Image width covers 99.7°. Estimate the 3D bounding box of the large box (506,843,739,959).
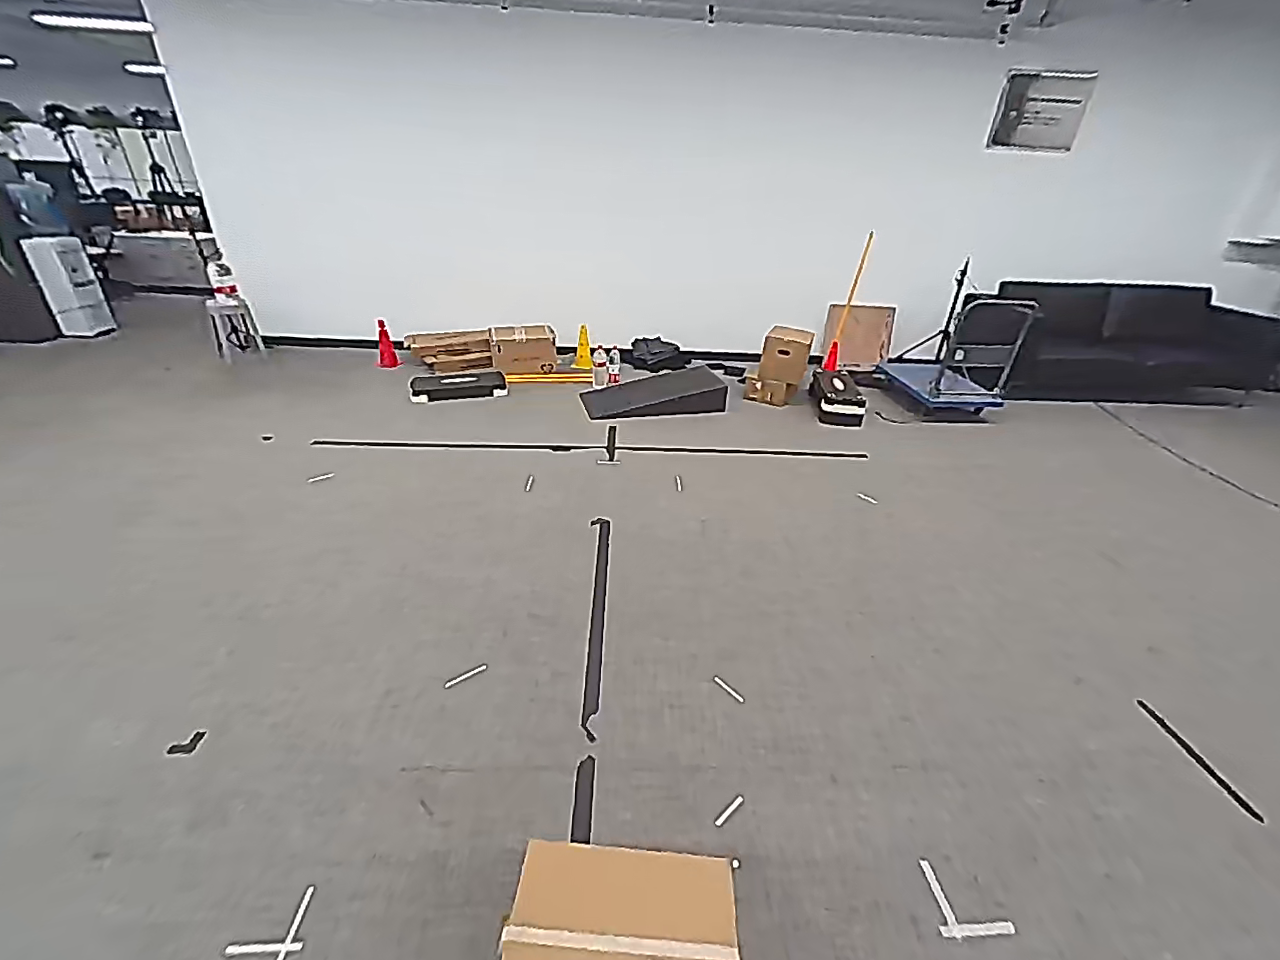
[{"bbox_3d":[-0.038,0.934,1.001,0.408,0.320,0.320,5,29,1],"label":"large box"}]
